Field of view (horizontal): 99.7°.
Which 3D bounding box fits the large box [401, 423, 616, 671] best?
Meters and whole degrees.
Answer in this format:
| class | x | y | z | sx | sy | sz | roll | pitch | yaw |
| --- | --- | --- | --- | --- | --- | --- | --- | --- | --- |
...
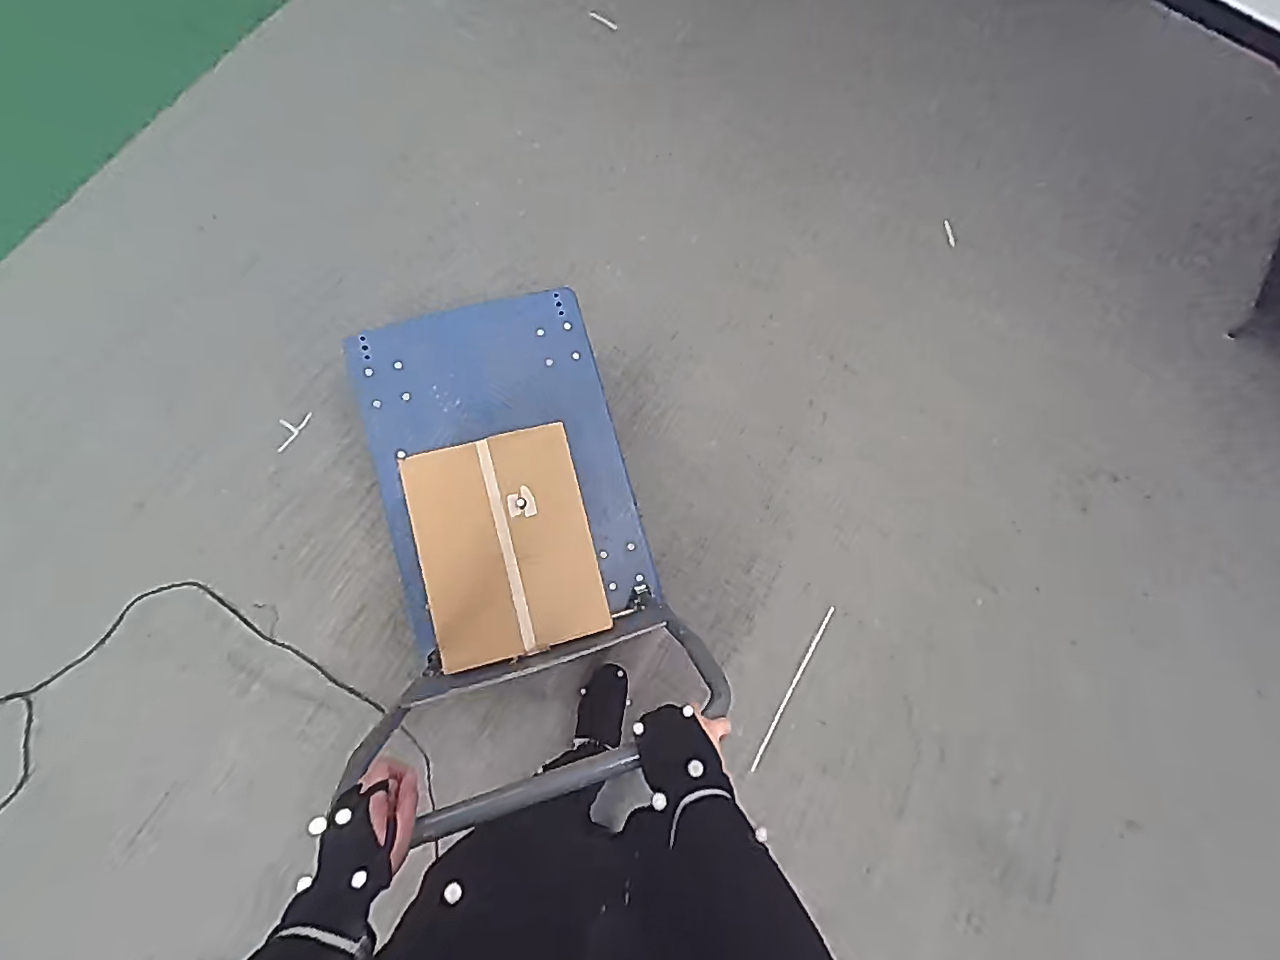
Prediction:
| class | x | y | z | sx | sy | sz | roll | pitch | yaw |
| --- | --- | --- | --- | --- | --- | --- | --- | --- | --- |
| large box | -0.257 | 0.136 | 1.150 | 0.320 | 0.320 | 0.408 | -15 | 84 | -8 |
